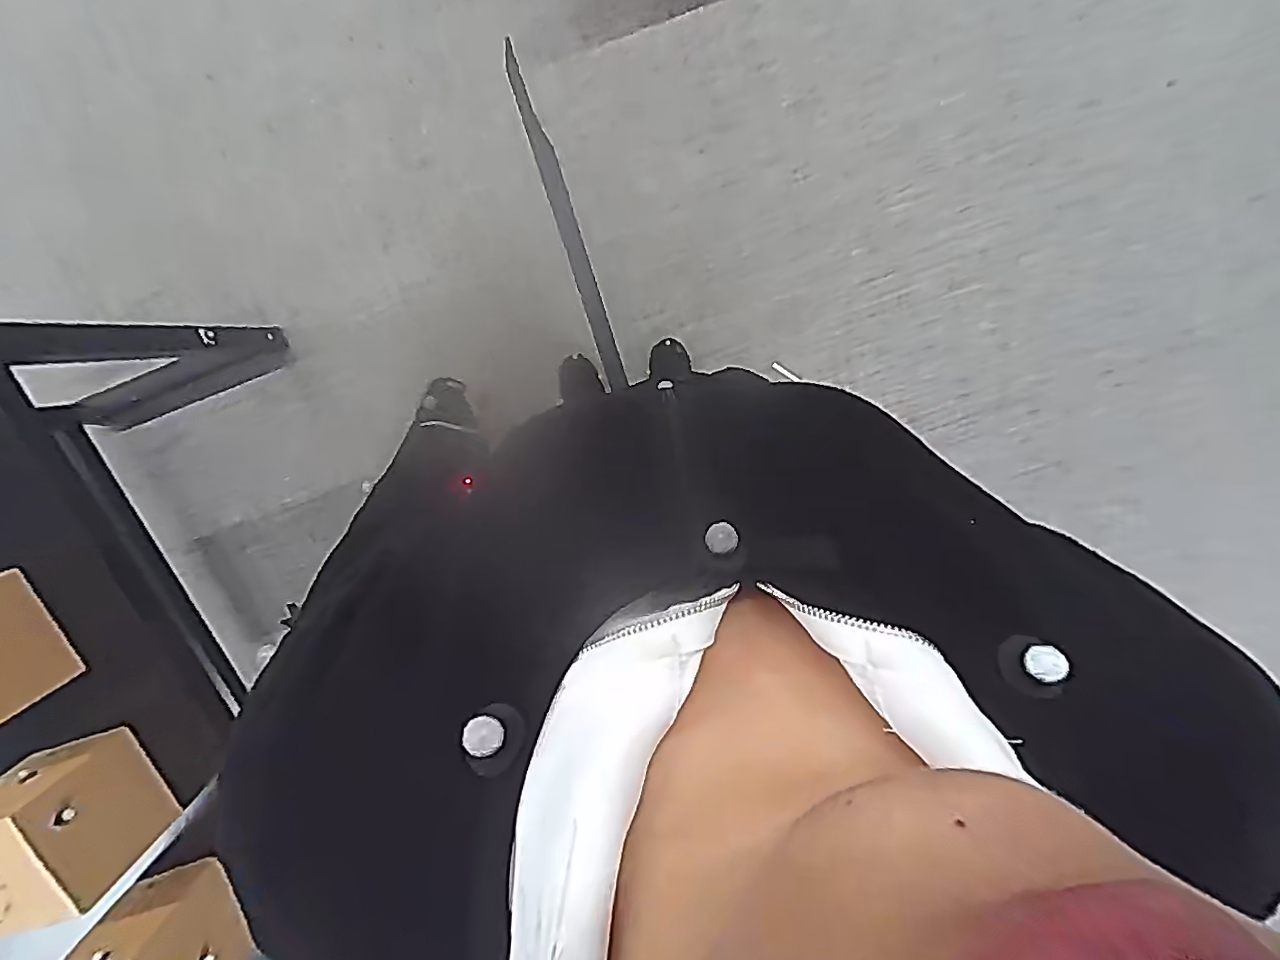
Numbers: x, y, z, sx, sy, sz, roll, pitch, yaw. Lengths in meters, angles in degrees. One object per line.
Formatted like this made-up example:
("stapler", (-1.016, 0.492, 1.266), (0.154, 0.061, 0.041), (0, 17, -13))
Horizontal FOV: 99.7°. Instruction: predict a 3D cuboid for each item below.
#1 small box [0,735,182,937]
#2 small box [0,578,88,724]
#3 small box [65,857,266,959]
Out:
("small box", (-0.837, 0.500, 0.784), (0.168, 0.176, 0.179), (-17, 105, 4))
("small box", (-0.921, 0.249, 0.716), (0.168, 0.176, 0.179), (-19, 104, 6))
("small box", (-0.747, 0.749, 0.852), (0.168, 0.176, 0.179), (-21, 105, 4))
